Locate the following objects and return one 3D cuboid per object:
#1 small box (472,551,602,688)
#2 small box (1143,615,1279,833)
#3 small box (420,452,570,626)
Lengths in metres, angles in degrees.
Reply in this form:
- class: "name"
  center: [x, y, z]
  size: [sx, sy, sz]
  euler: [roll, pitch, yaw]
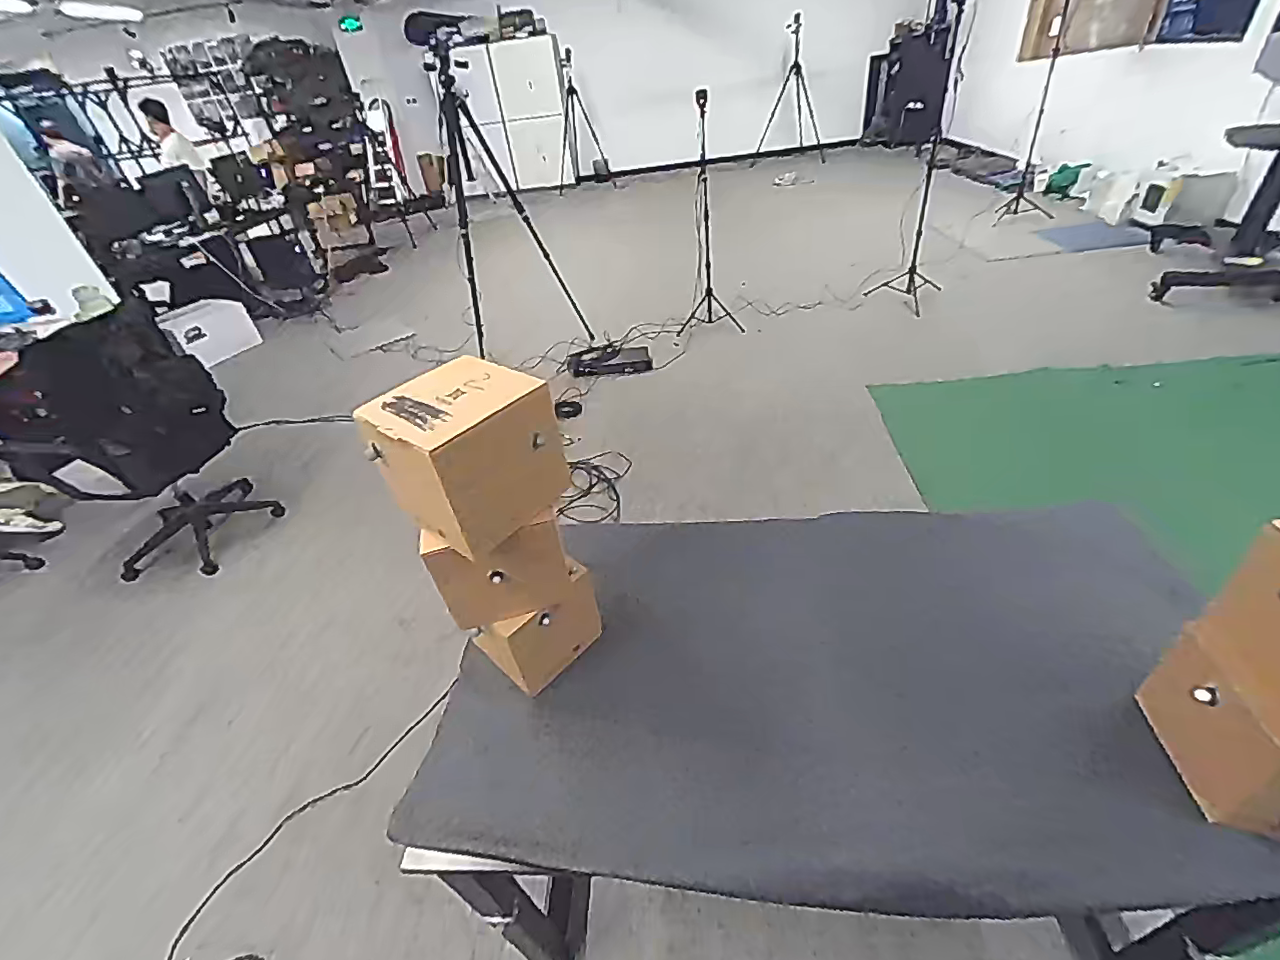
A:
- class: "small box"
  center: [-0.188, 0.212, 0.914]
  size: [0.179, 0.176, 0.168]
  euler: [26, 50, 36]
- class: "small box"
  center: [0.747, 0.284, 0.628]
  size: [0.168, 0.176, 0.179]
  euler: [0, 36, 14]
- class: "small box"
  center: [-0.209, 0.087, 0.809]
  size: [0.179, 0.176, 0.168]
  euler: [-16, 40, -8]
